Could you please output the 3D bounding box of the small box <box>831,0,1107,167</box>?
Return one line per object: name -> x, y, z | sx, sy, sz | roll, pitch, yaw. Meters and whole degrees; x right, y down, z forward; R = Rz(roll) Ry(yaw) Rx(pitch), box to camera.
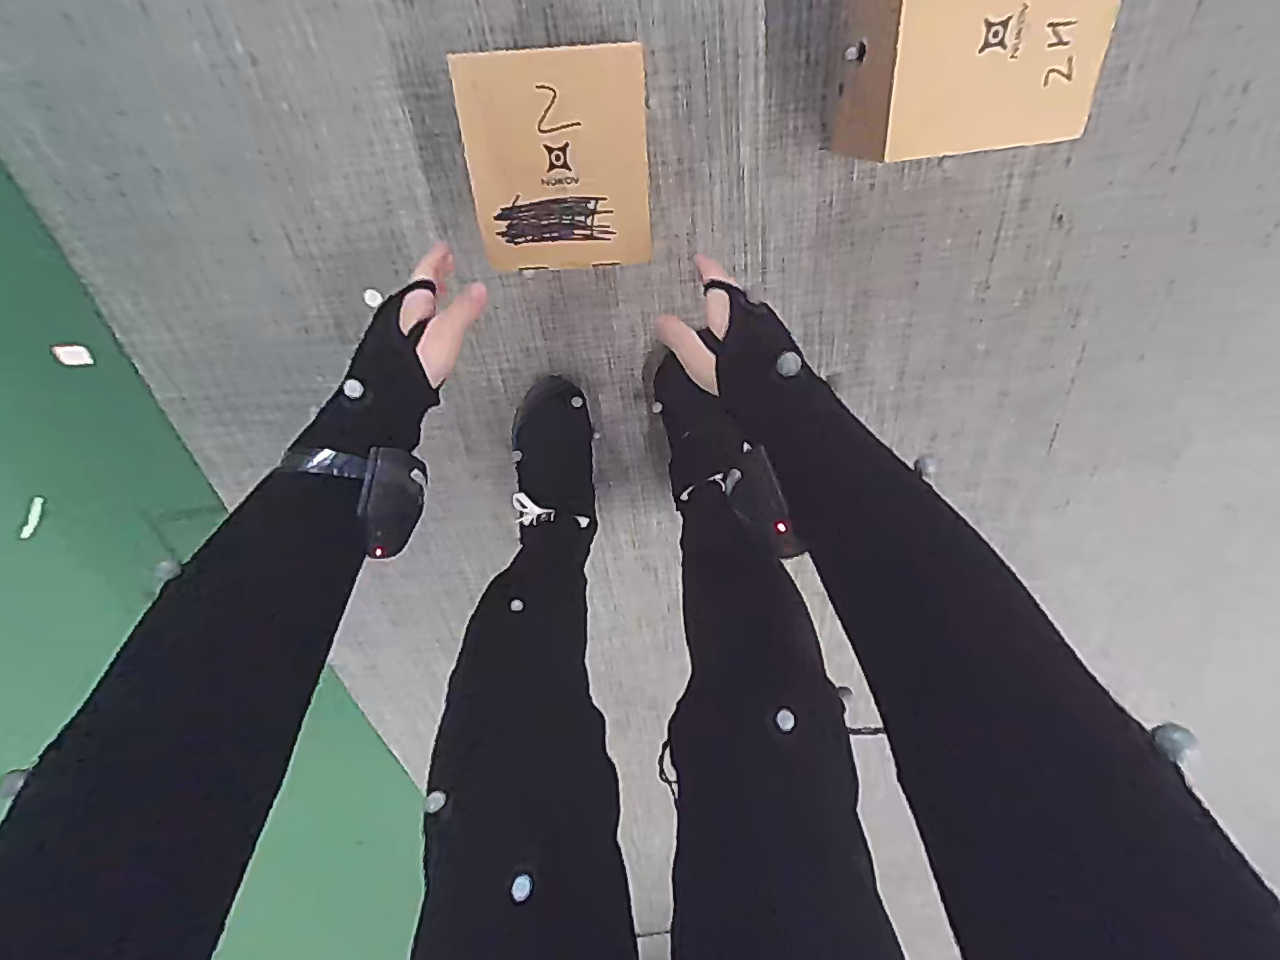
small box -> 0.297, -0.407, 0.523 | 0.179, 0.176, 0.168 | -5, 123, 4
